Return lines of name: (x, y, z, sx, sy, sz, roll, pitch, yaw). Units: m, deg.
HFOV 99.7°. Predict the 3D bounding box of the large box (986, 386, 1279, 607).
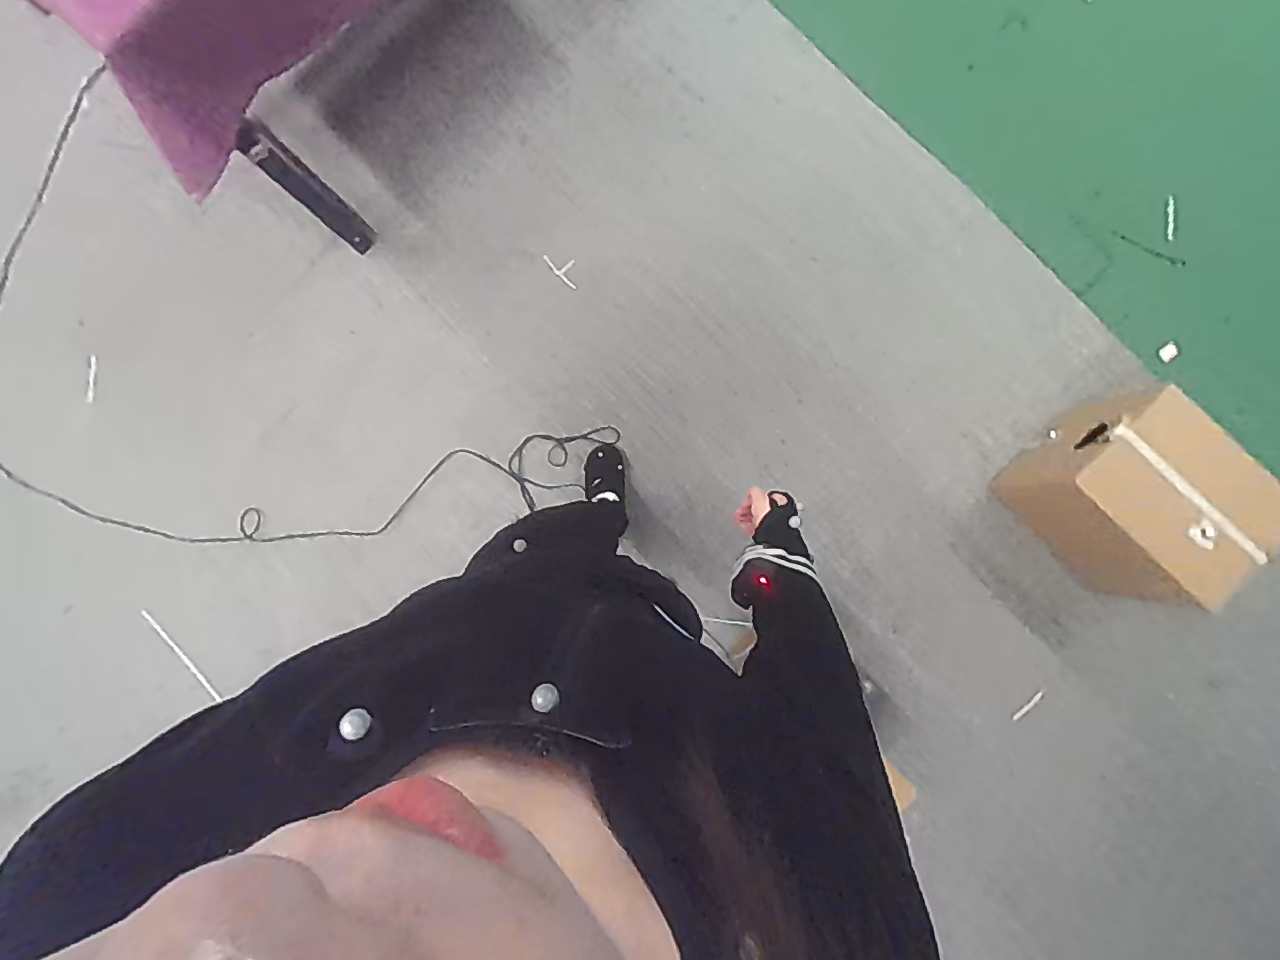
large box: (1.182, 0.040, 1.326, 0.320, 0.320, 0.408, -44, 88, -1)
